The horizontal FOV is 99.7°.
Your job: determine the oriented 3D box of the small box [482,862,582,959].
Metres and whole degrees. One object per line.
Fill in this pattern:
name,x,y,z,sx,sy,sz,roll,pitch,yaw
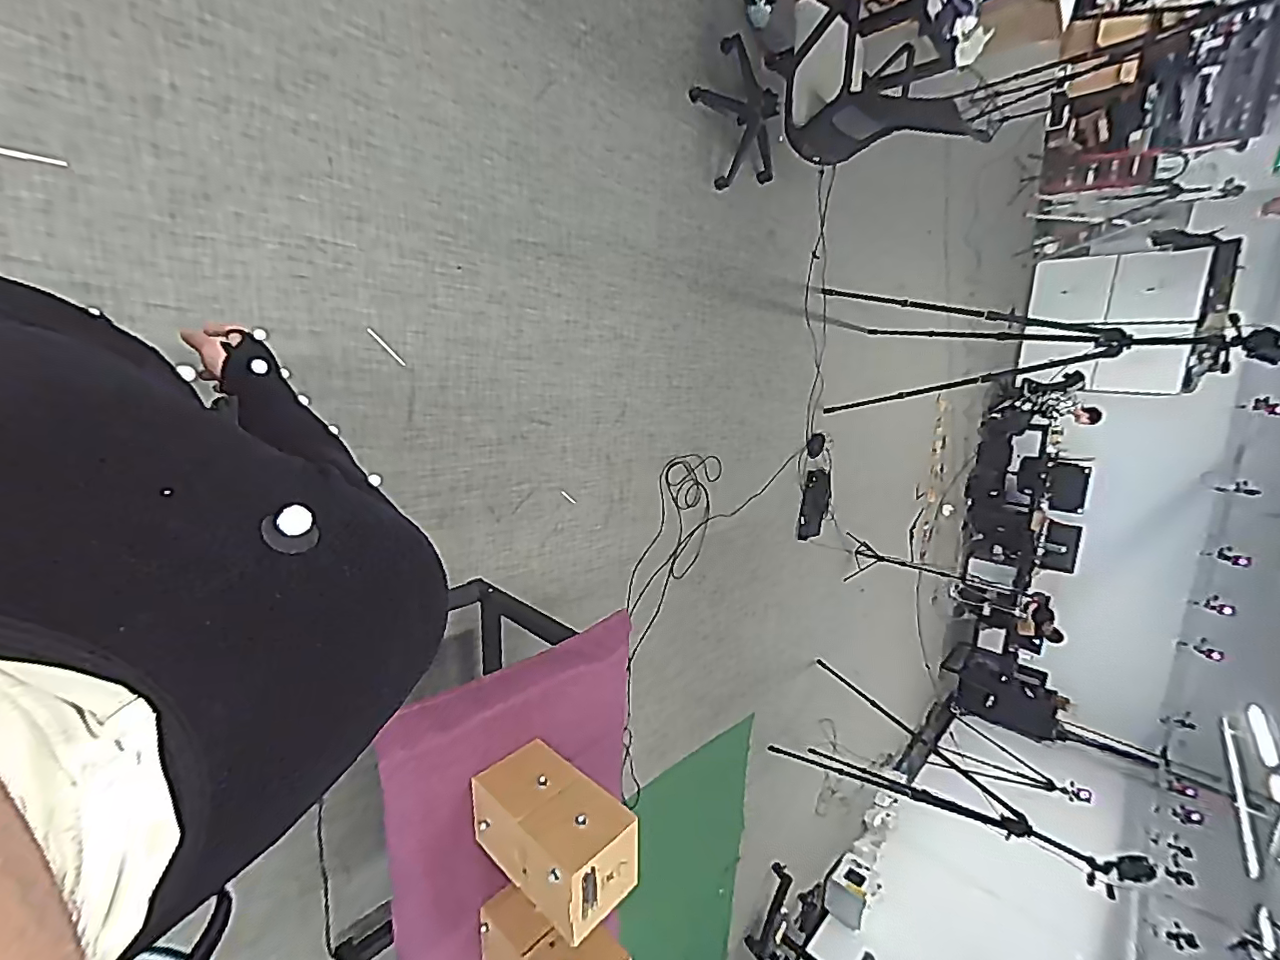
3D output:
small box,-0.256,1.048,1.264,0.179,0.176,0.168,-12,108,-46

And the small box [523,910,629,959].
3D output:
small box,-0.140,1.074,1.153,0.168,0.176,0.179,-11,108,-45

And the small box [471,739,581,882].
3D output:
small box,-0.248,0.710,1.188,0.179,0.176,0.168,-13,108,-45
